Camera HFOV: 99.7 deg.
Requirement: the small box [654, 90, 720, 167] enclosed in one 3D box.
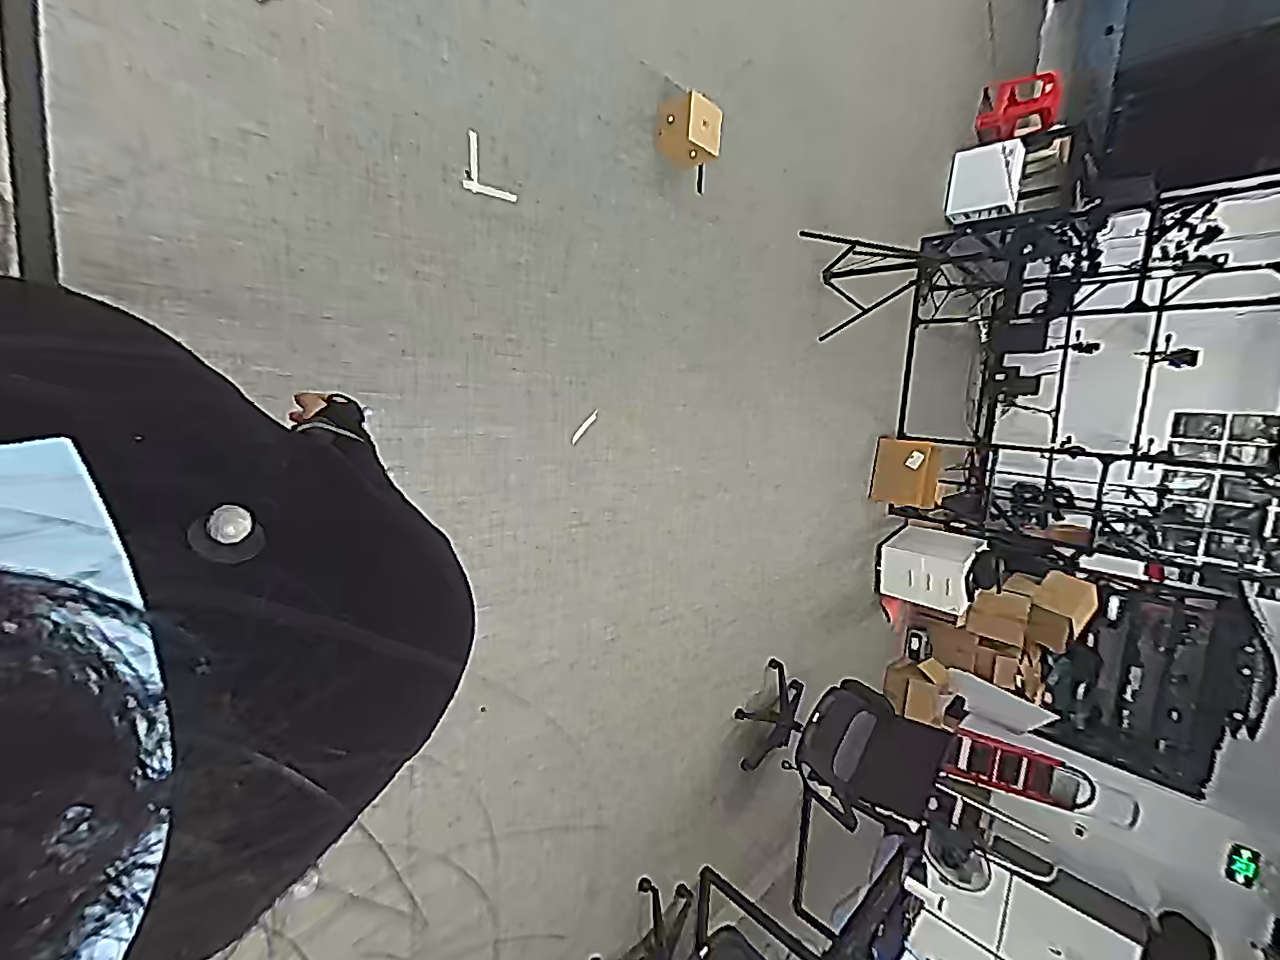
[{"bbox_3d":[0.169,-1.283,1.992,0.179,0.176,0.168,-2,100,-45],"label":"small box"}]
